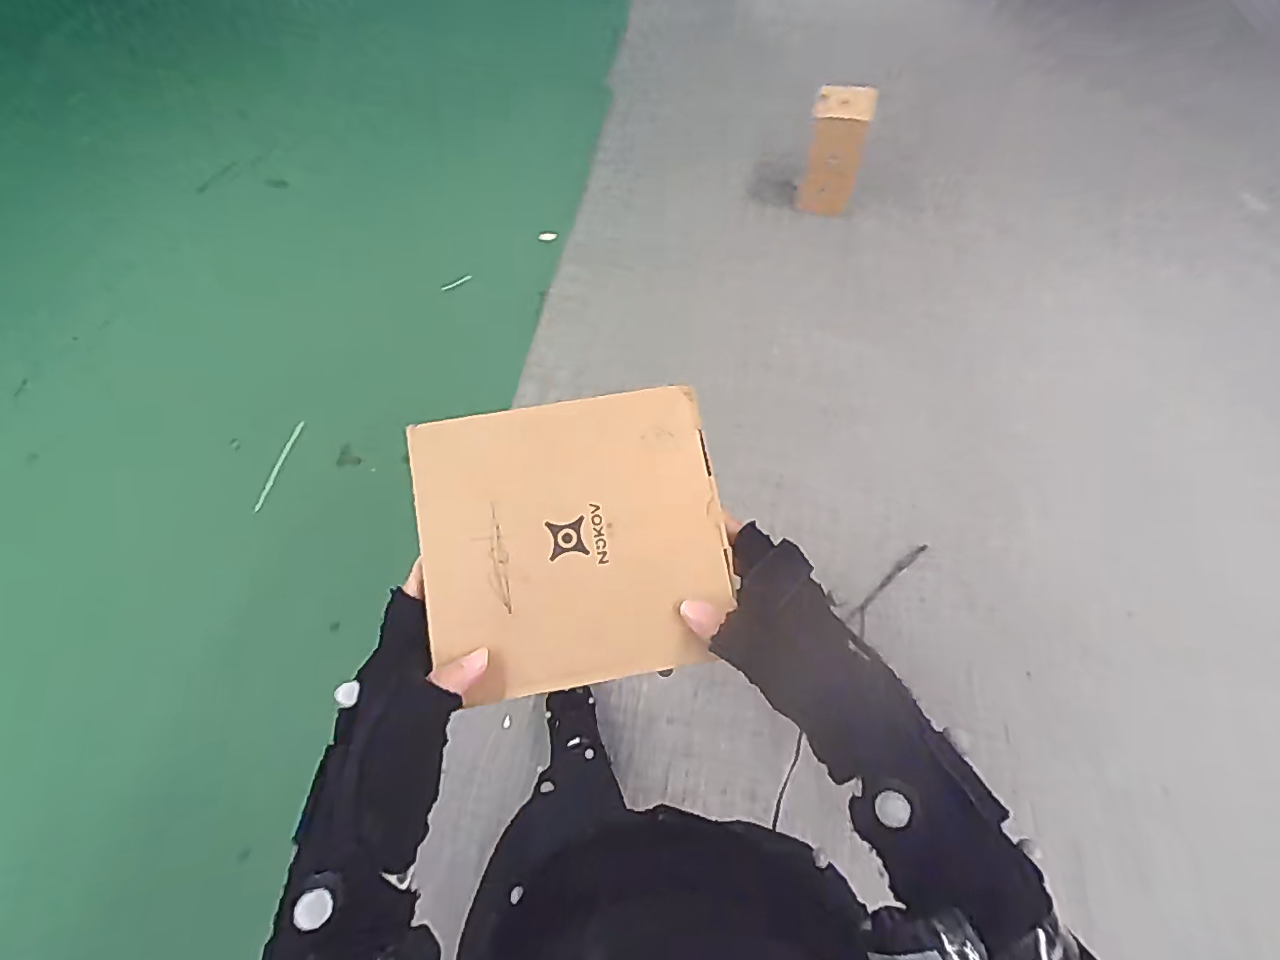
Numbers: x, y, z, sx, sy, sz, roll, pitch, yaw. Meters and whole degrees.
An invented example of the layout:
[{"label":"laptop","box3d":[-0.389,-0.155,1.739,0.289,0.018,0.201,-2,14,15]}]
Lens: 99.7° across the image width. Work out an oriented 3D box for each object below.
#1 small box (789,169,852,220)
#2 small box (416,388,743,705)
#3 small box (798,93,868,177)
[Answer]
[{"label":"small box","box3d":[0.635,-1.044,1.898,0.179,0.176,0.168,11,65,11]},{"label":"small box","box3d":[-0.041,0.049,0.397,0.179,0.176,0.168,-10,78,-3]},{"label":"small box","box3d":[0.621,-1.113,1.753,0.179,0.176,0.168,9,67,10]}]
